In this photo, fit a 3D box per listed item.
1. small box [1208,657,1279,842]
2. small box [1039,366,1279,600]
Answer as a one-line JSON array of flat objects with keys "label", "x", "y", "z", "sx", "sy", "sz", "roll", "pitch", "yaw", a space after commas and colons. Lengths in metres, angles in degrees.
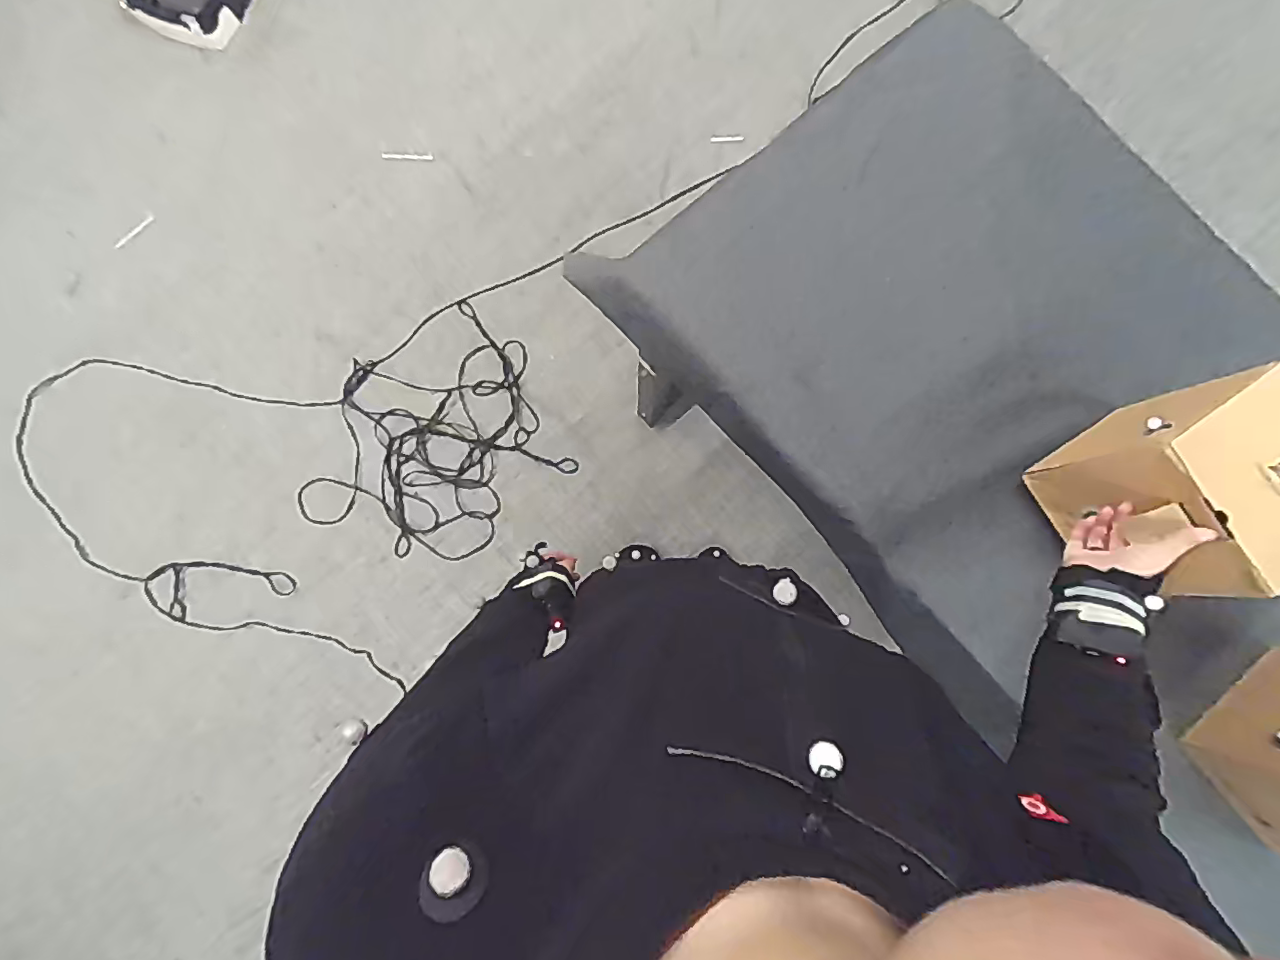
[{"label": "small box", "x": 0.752, "y": 0.304, "z": 0.544, "sx": 0.179, "sy": 0.176, "sz": 0.168, "roll": -40, "pitch": 86, "yaw": -6}, {"label": "small box", "x": 0.584, "y": 0.007, "z": 0.568, "sx": 0.179, "sy": 0.176, "sz": 0.168, "roll": -31, "pitch": 85, "yaw": -10}]
